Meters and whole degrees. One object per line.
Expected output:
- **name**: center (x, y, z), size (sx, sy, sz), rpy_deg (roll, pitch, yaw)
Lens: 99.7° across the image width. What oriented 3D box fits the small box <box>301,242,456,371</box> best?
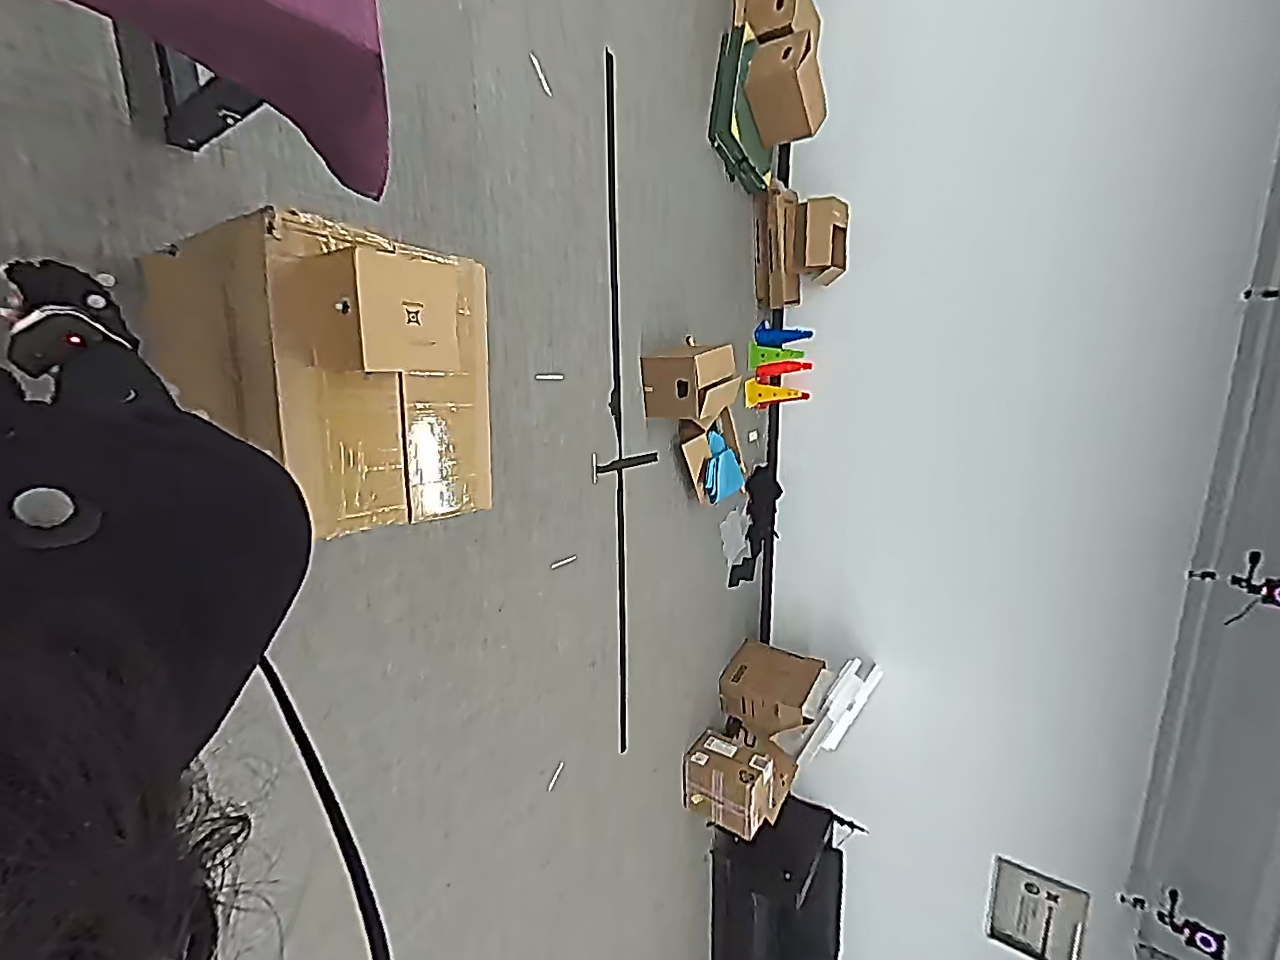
- **small box**: center (-0.420, -0.266, 0.871), size (0.168, 0.176, 0.179), rpy_deg (-14, 109, -52)
